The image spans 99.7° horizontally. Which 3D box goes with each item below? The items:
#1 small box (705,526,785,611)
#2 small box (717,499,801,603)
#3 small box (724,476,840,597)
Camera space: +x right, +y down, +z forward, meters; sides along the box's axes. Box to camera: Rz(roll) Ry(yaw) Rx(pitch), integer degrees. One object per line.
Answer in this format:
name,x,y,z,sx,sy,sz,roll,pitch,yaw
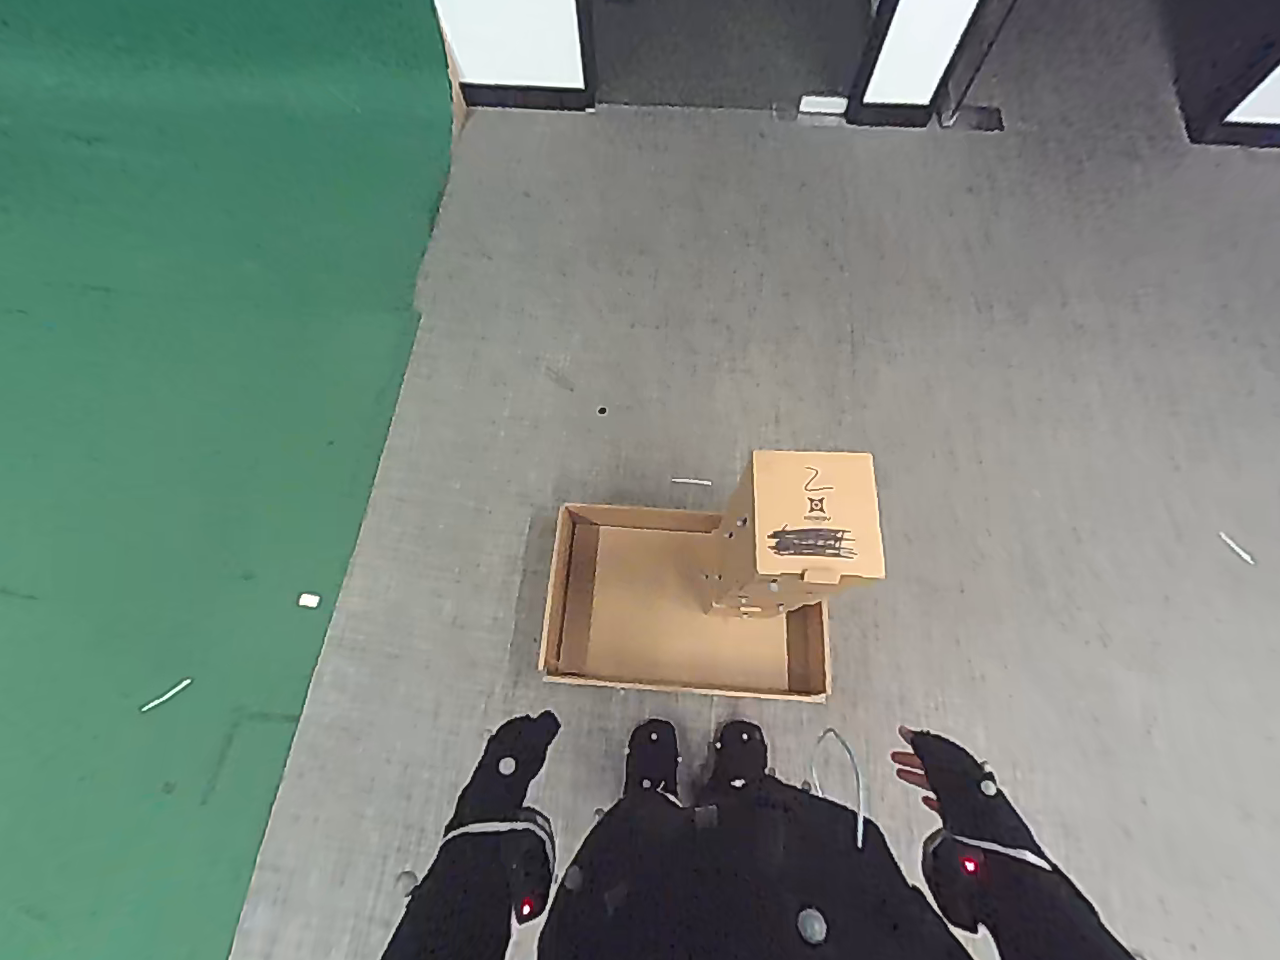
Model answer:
small box,0.240,0.212,1.264,0.168,0.176,0.179,-1,70,3
small box,0.249,0.149,1.093,0.168,0.176,0.179,4,70,3
small box,0.243,0.106,0.952,0.168,0.176,0.179,4,70,3
